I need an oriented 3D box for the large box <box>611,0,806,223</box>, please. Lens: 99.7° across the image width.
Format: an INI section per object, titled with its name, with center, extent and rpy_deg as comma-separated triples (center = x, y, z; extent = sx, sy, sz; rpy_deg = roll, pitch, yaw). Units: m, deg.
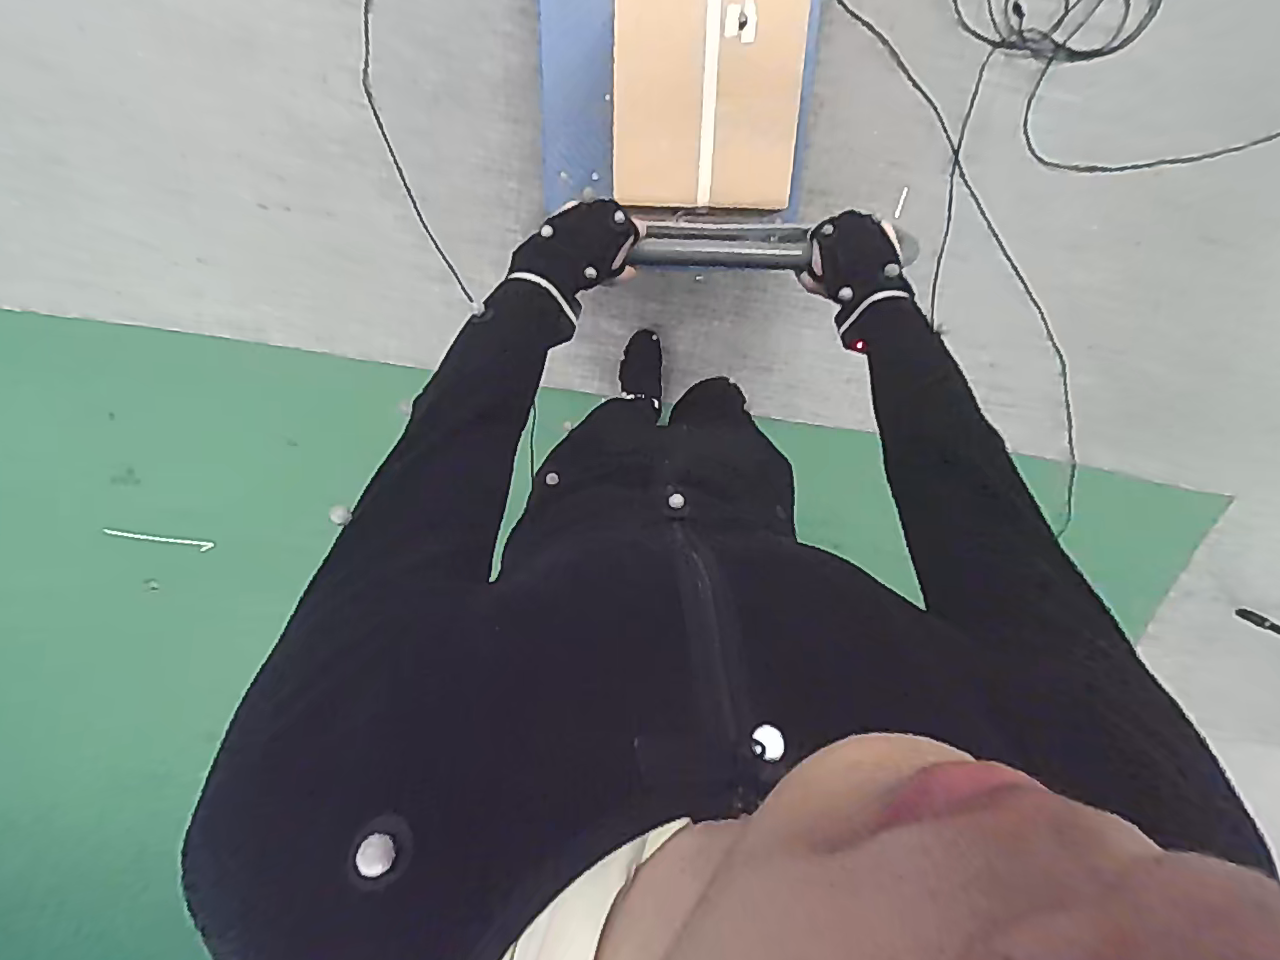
[large box]
center = 0.105, -0.723, 1.029
extent = 0.320, 0.320, 0.408
rpy_deg = 0, 110, -3
